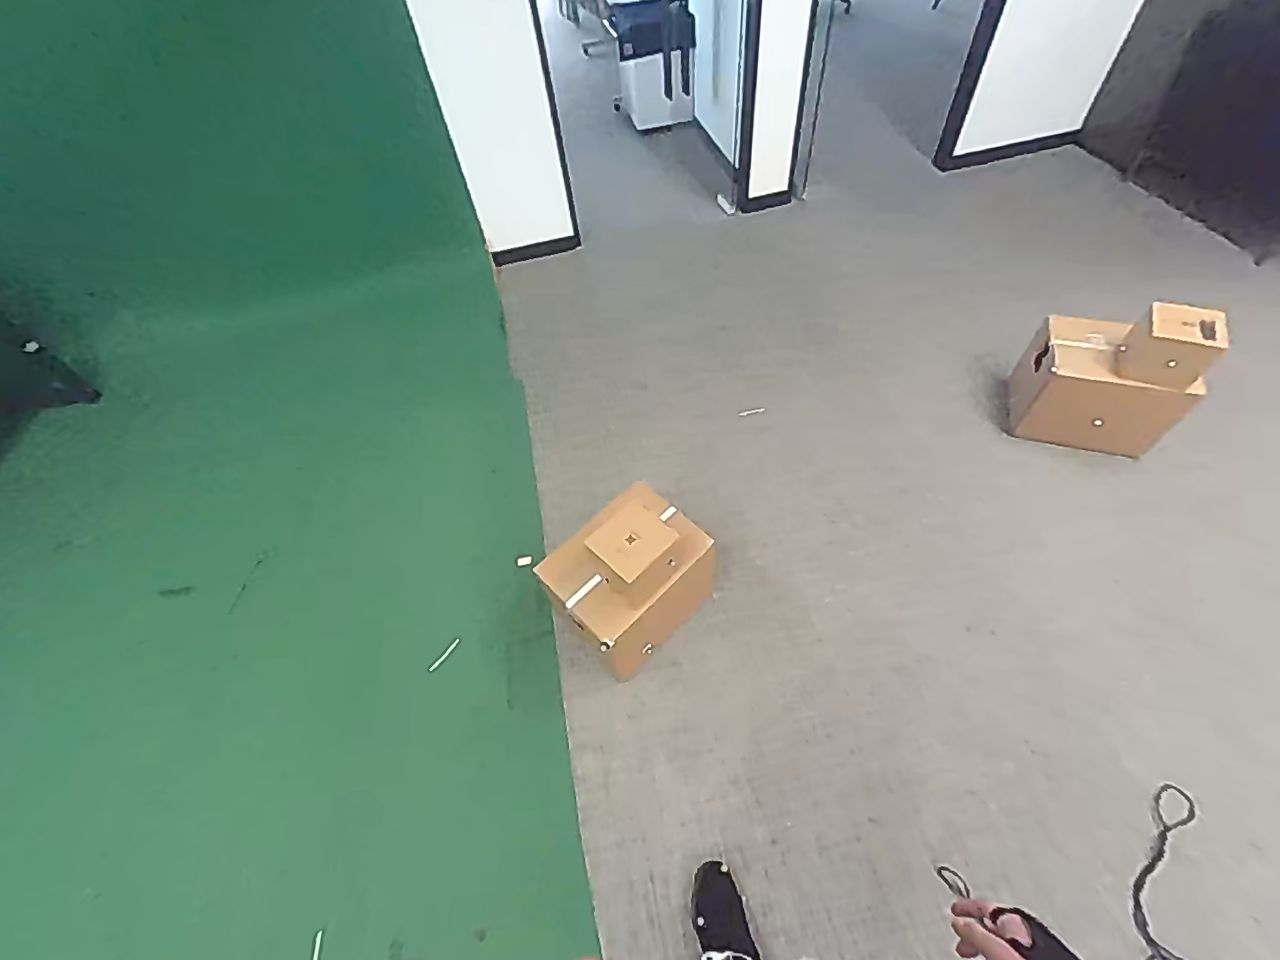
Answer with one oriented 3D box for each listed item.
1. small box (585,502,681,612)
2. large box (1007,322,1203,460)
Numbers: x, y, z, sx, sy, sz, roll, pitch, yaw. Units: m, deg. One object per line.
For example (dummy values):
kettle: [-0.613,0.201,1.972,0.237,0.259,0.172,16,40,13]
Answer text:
small box: [-0.014,0.195,1.354,0.179,0.176,0.168,-40,60,-21]
large box: [1.562,-0.306,1.866,0.408,0.320,0.320,12,55,16]
